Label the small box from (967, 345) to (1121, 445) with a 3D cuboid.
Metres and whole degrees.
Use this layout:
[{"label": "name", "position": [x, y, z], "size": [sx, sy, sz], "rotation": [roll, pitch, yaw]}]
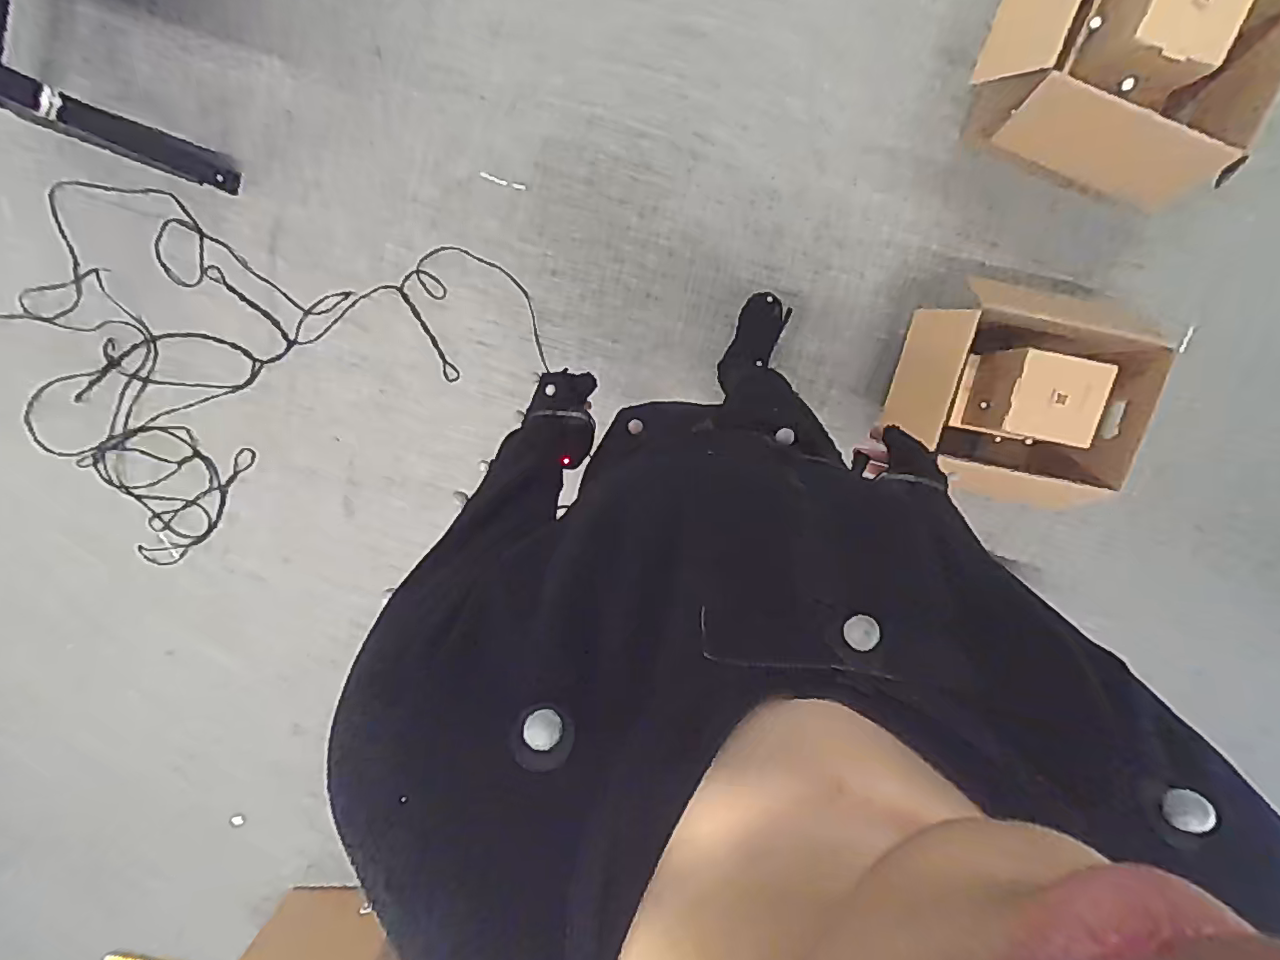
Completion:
[{"label": "small box", "position": [0.827, -0.178, 1.130], "size": [0.179, 0.176, 0.168], "rotation": [12, 102, 2]}]
